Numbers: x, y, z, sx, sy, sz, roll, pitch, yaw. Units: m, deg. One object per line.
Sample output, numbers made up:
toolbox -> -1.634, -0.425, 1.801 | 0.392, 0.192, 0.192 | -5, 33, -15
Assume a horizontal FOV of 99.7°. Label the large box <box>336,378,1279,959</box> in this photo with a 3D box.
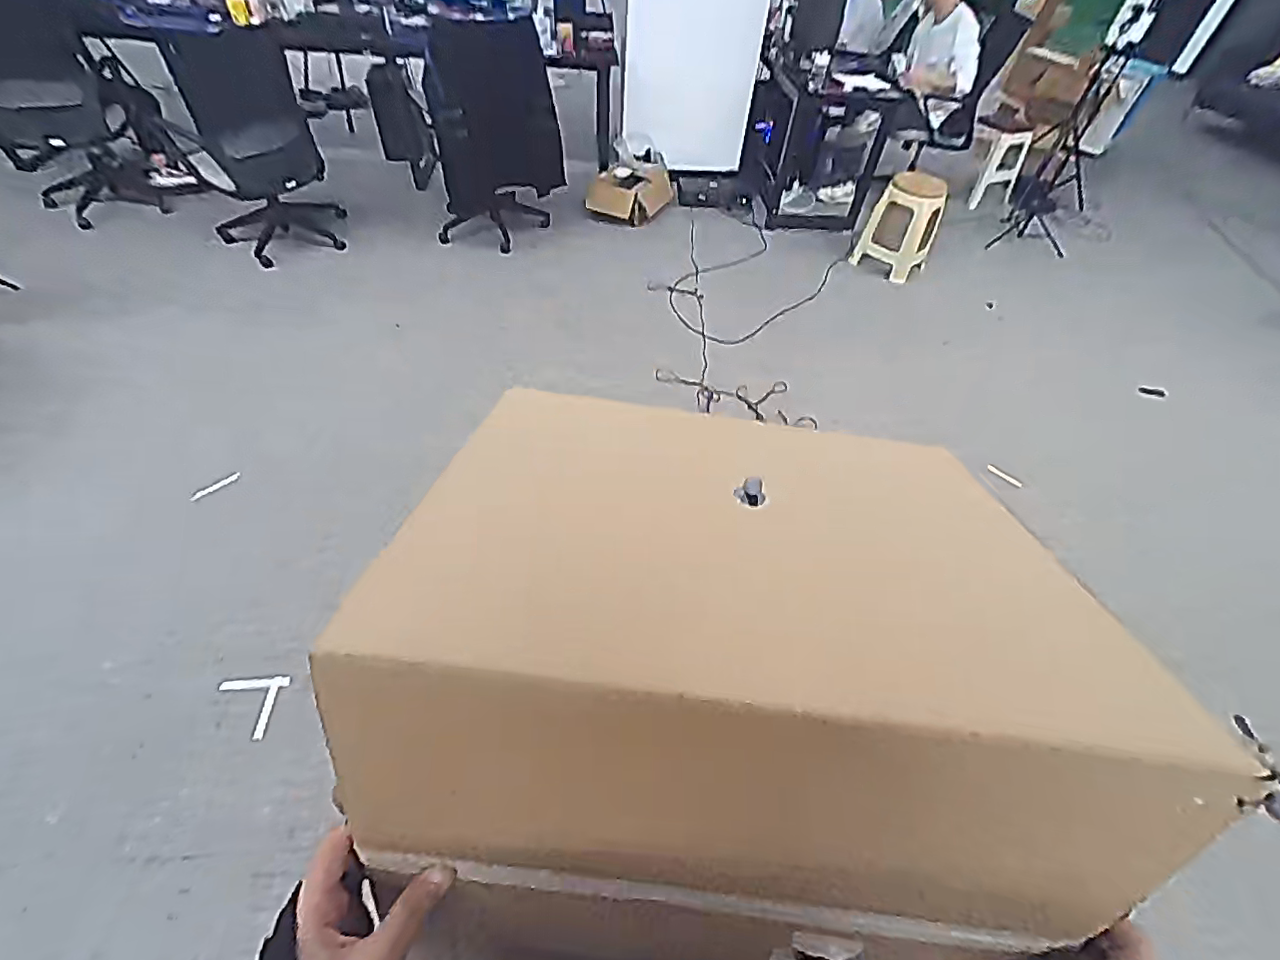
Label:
large box -> 0.062, 0.128, 0.423 | 0.408, 0.320, 0.320 | 7, 30, -1
